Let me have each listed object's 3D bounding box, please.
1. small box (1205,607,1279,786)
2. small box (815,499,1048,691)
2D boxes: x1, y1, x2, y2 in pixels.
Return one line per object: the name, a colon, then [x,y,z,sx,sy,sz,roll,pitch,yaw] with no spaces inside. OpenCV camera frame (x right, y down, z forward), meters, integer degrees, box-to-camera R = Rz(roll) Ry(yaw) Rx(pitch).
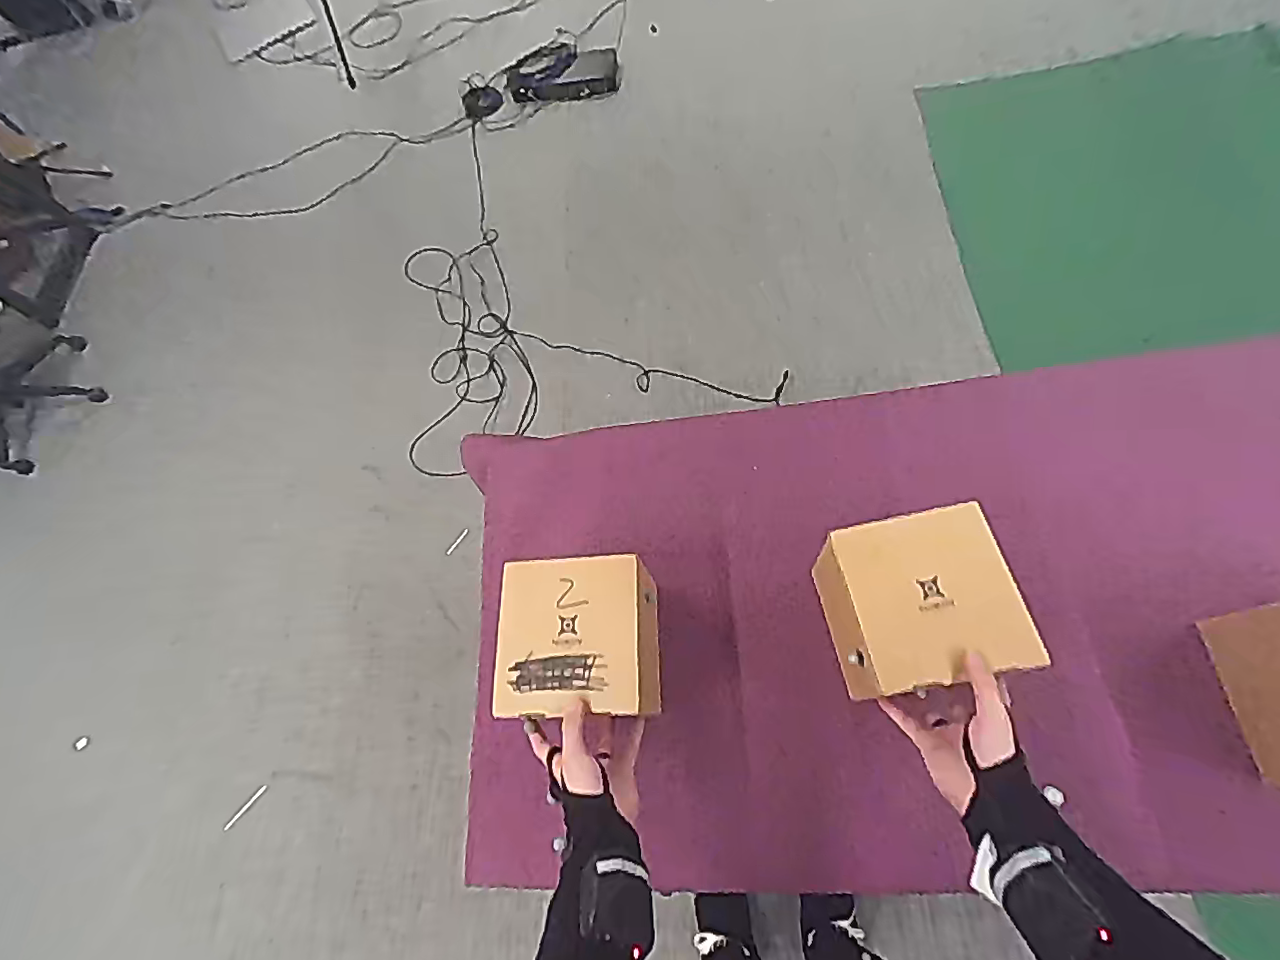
small box: [0.735,0.212,0.532,0.168,0.176,0.179,-4,66,10]
small box: [0.319,0.145,0.641,0.168,0.176,0.179,-12,67,4]
